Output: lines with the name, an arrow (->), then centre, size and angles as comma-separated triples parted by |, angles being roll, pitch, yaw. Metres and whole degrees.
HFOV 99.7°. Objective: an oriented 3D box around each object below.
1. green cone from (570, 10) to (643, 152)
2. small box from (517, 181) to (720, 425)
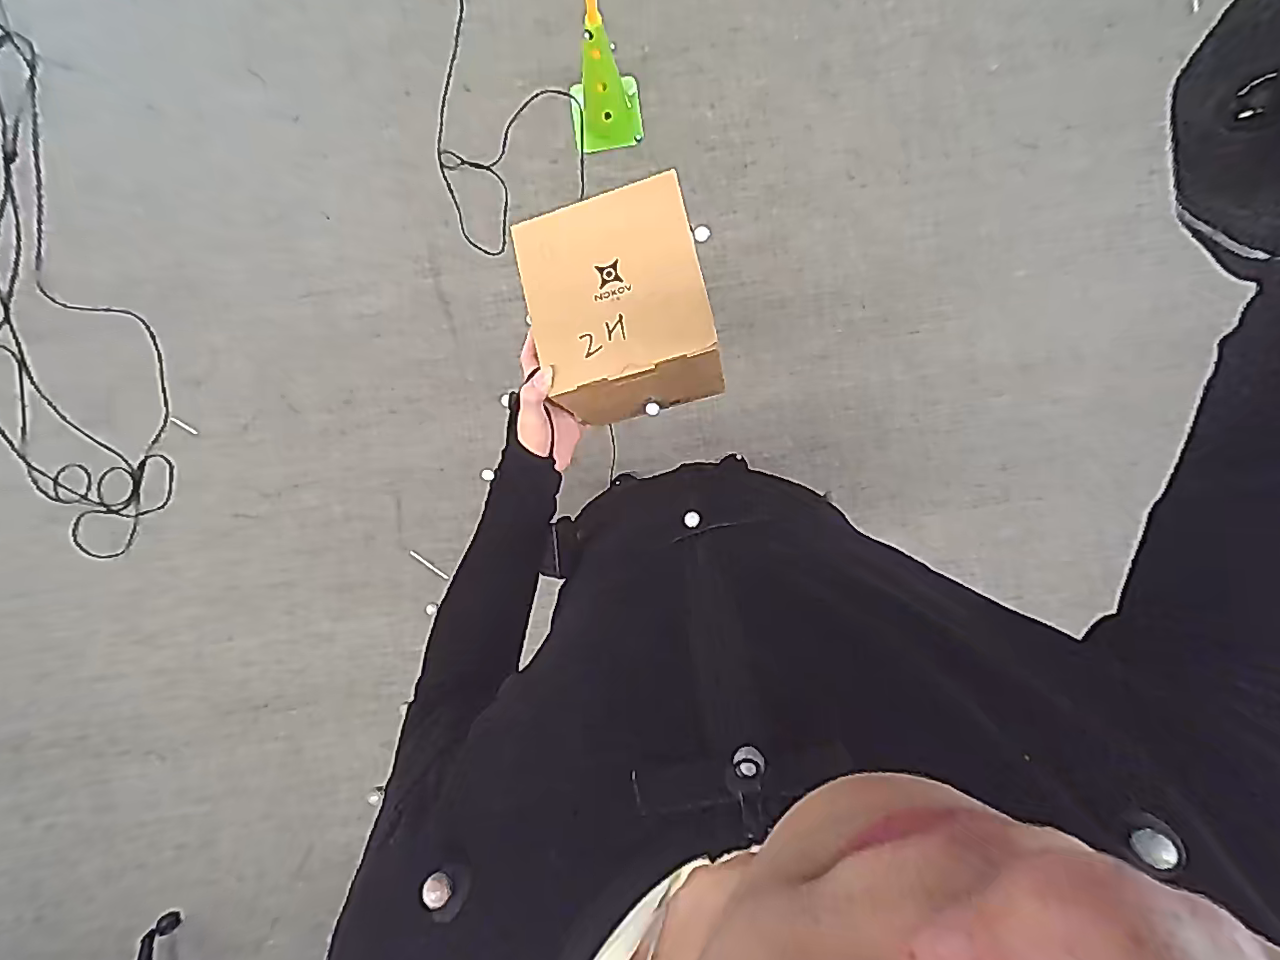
green cone -> -0.107, -1.082, 1.429 | 0.202, 0.368, 0.200 | -8, 91, 3
small box -> -0.012, -0.172, 0.583 | 0.168, 0.176, 0.179 | -13, 84, 10
